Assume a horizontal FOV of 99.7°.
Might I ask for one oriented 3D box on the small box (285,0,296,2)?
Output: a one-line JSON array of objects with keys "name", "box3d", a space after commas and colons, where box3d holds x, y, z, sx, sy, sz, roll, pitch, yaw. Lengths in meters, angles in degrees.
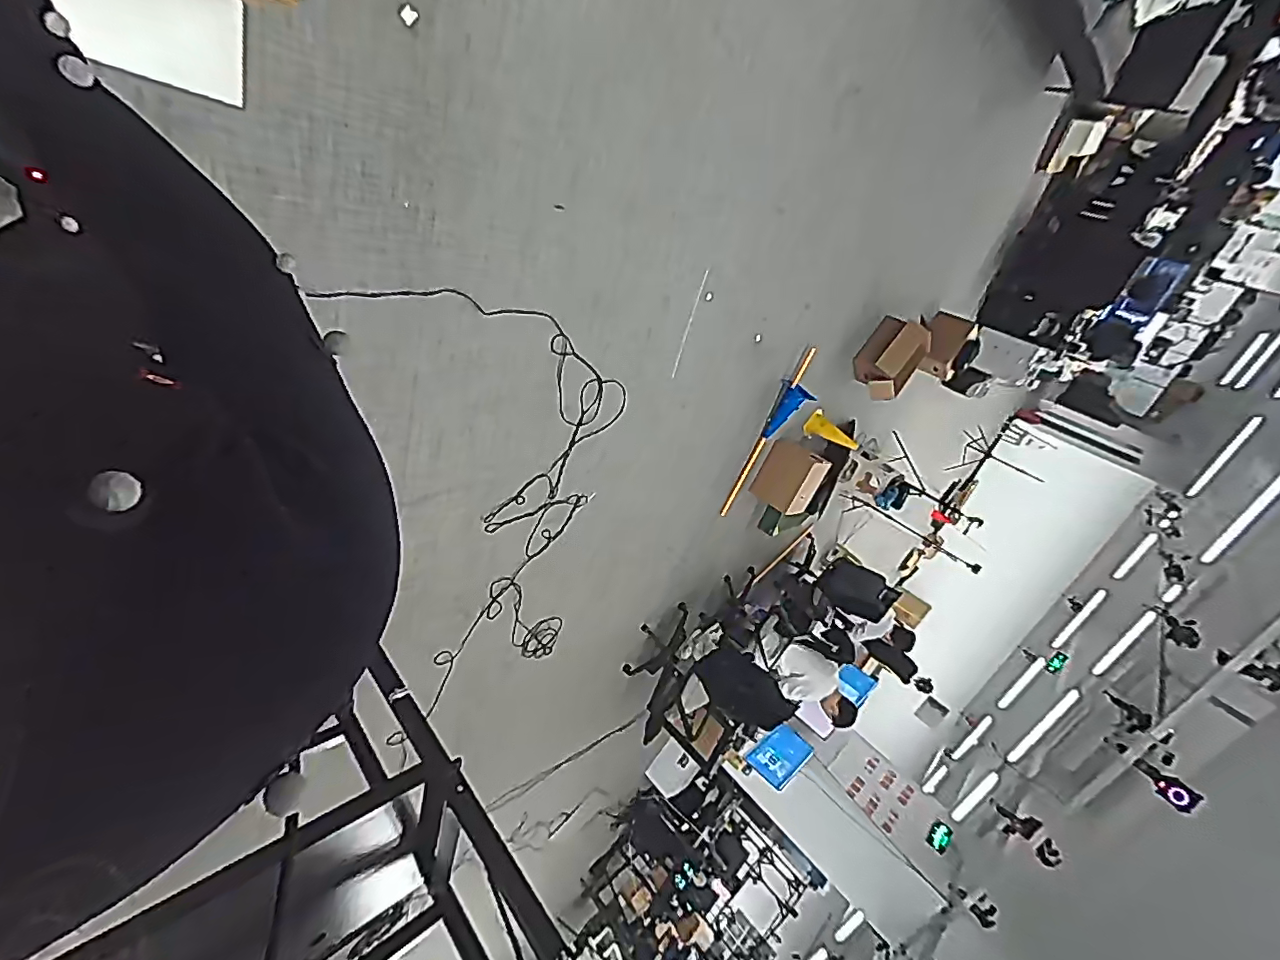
[{"name": "small box", "box3d": [-0.390, -0.546, 0.443, 0.168, 0.176, 0.179, -7, 127, -47]}]
